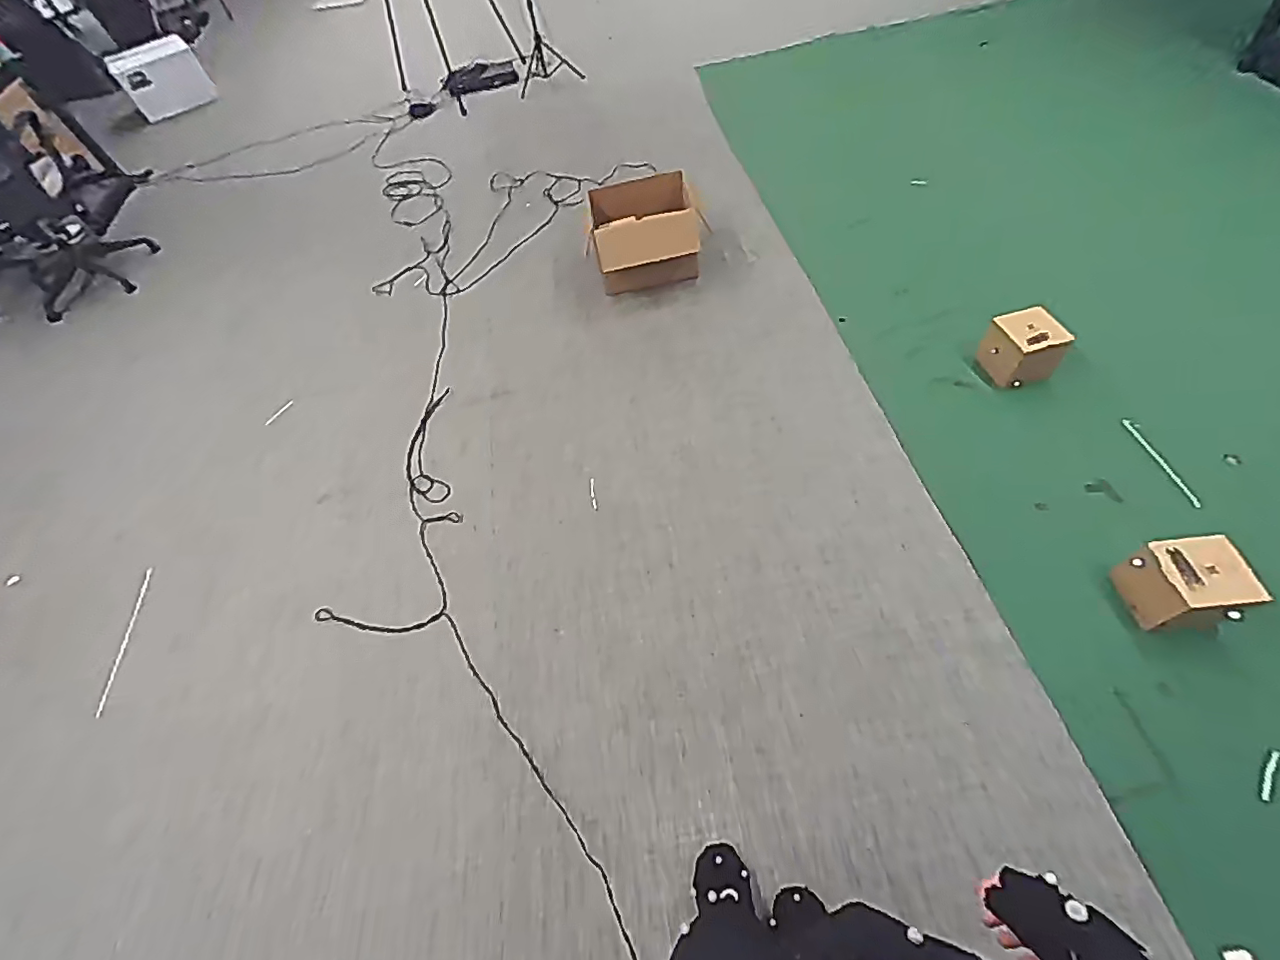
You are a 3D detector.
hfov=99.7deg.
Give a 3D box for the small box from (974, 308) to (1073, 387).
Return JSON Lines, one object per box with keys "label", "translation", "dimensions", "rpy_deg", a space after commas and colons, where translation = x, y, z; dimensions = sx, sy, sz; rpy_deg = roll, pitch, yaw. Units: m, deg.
{"label": "small box", "translation": [1.236, -0.422, 1.759], "dimensions": [0.168, 0.176, 0.179], "rpy_deg": [-14, 54, -1]}
